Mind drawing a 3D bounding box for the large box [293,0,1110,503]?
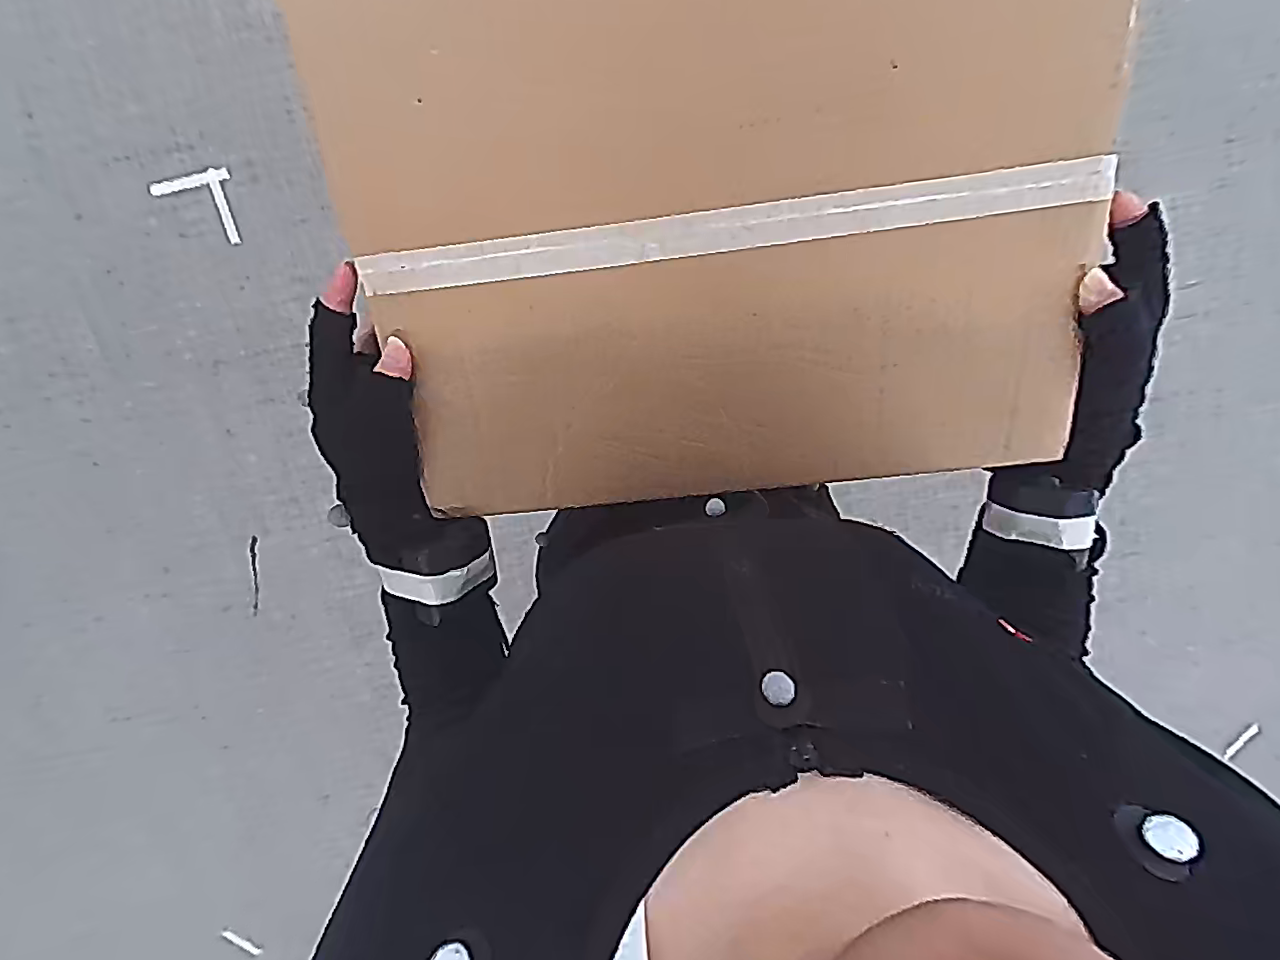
[{"bbox_3d":[0.043,-0.202,0.441,0.408,0.320,0.320,-5,112,4],"label":"large box"}]
